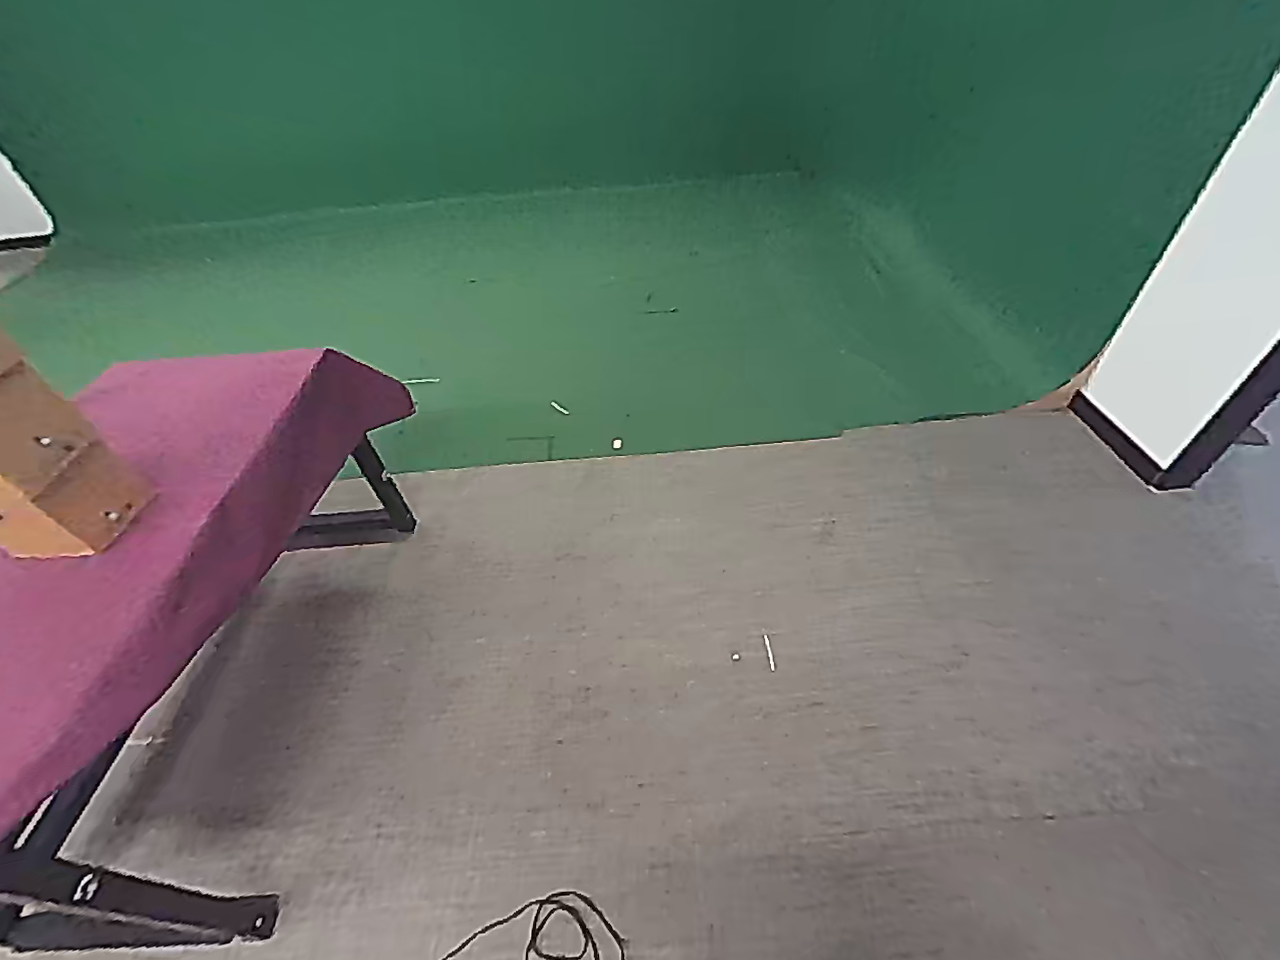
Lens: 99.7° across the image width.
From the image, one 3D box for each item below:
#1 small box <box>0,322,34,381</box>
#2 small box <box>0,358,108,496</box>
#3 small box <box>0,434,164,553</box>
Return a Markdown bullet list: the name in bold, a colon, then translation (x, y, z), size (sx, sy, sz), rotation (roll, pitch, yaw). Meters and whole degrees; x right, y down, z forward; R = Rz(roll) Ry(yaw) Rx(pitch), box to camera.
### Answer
- **small box**: translation (-1.085, -0.202, 0.790), size (0.179, 0.176, 0.168), rotation (-2, 46, 5)
- **small box**: translation (-1.082, -0.085, 0.905), size (0.179, 0.176, 0.168), rotation (-2, 47, 4)
- **small box**: translation (-1.086, 0.026, 1.026), size (0.179, 0.176, 0.168), rotation (-1, 46, 5)
